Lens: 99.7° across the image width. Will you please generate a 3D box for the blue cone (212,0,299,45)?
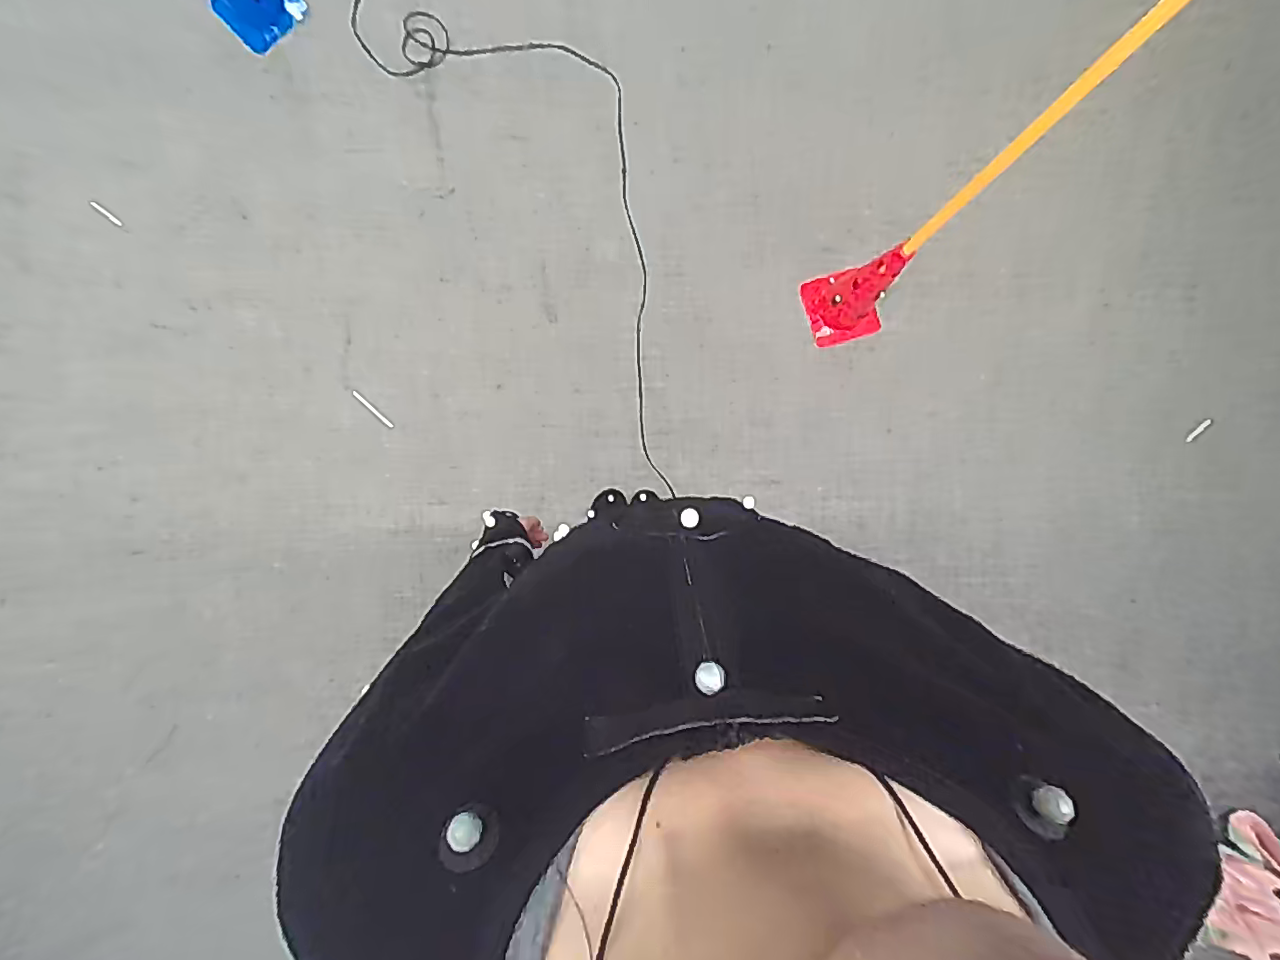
[{"bbox_3d":[-1.043,-1.304,1.312,0.192,0.380,0.193,44,89,-2],"label":"blue cone"}]
